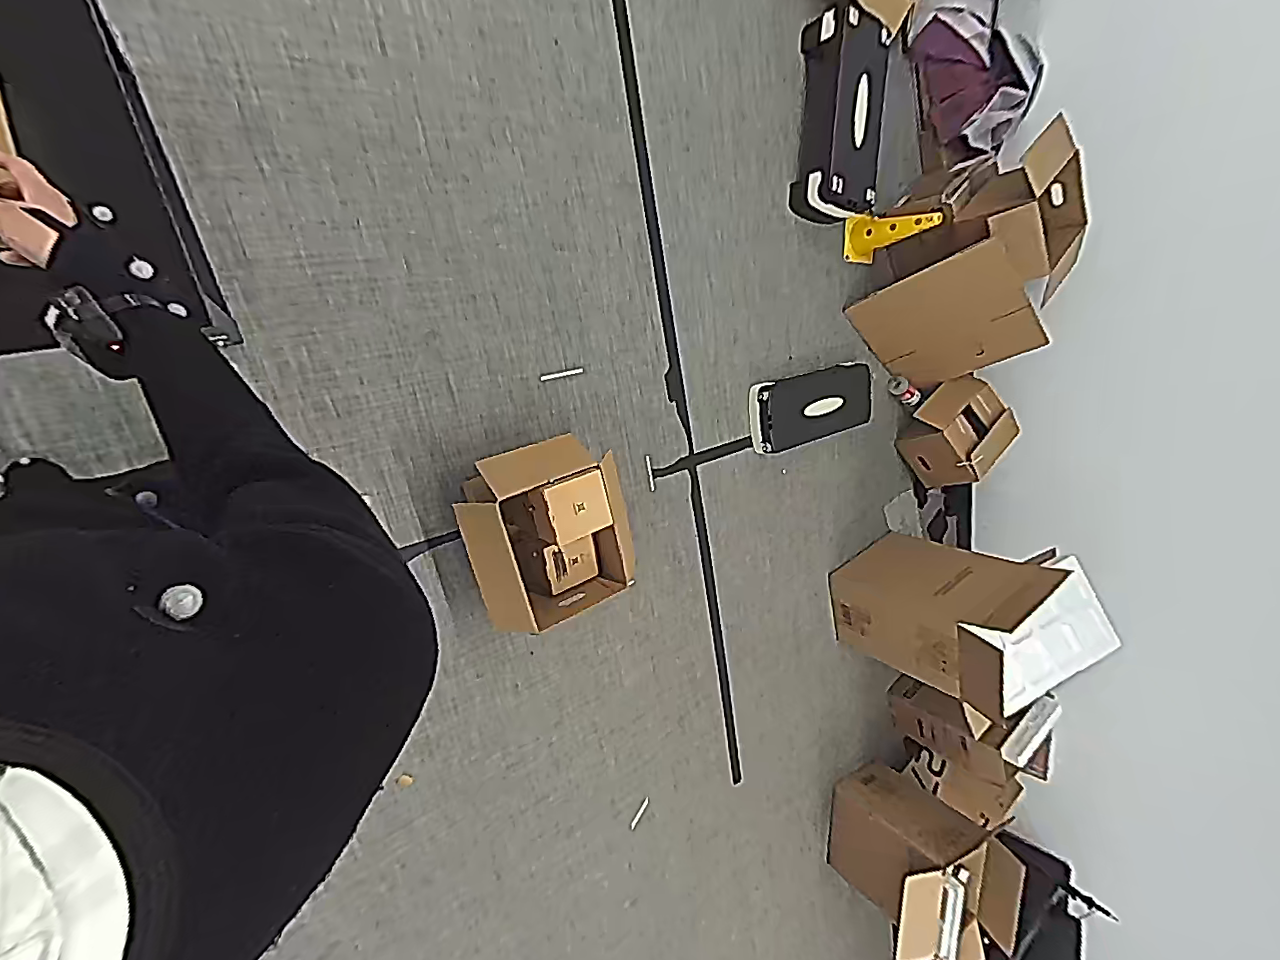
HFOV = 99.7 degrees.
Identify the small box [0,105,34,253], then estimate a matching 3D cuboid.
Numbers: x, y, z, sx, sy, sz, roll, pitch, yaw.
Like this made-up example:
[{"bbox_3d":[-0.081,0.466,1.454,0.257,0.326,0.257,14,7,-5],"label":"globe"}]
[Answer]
[{"bbox_3d":[-0.684,-0.309,0.463,0.168,0.176,0.179,-10,104,-31],"label":"small box"}]
